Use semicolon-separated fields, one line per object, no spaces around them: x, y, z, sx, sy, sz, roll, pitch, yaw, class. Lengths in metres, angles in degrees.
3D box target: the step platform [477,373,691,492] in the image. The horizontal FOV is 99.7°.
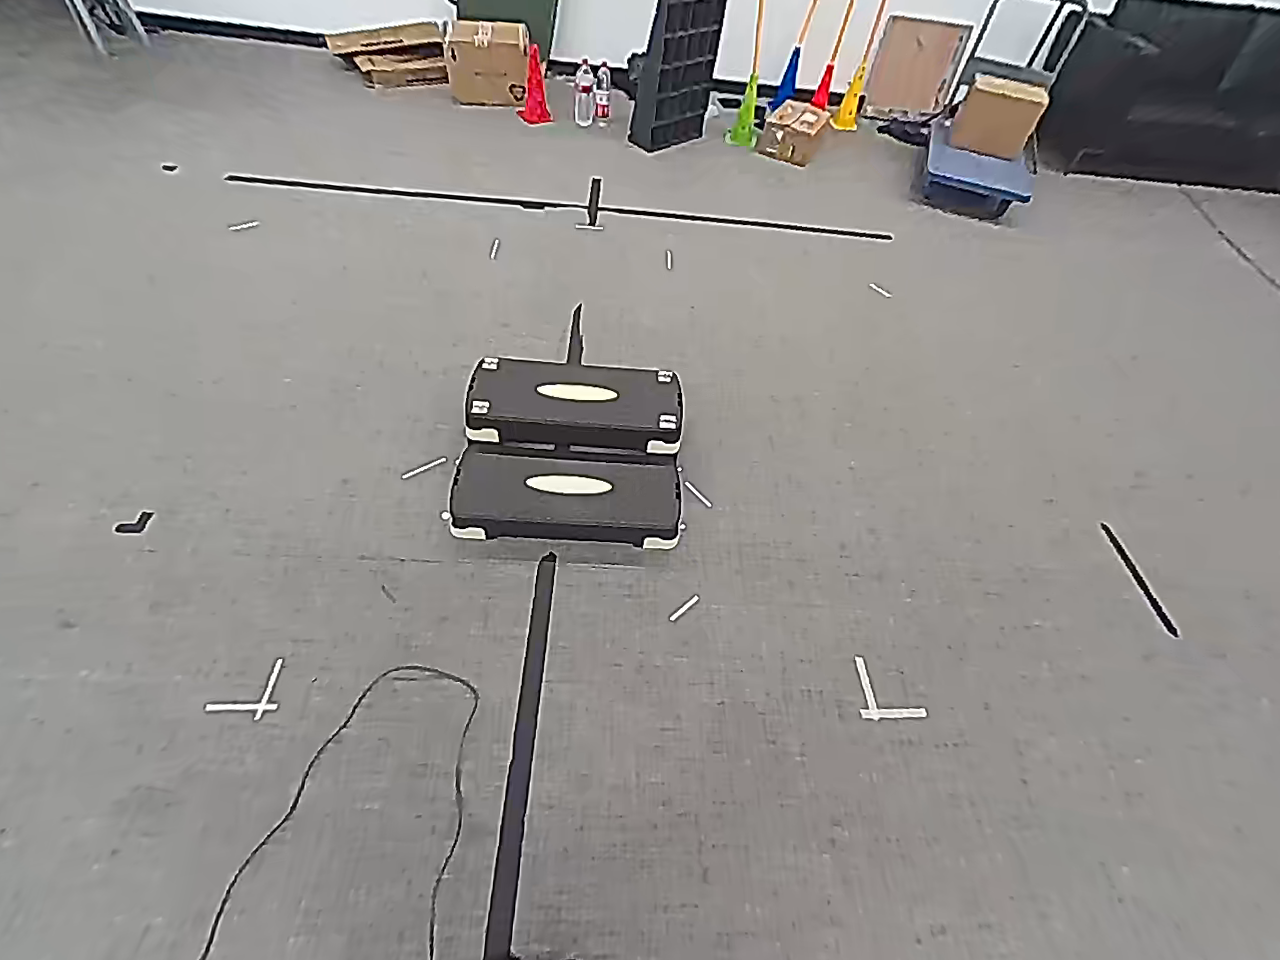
-0.174;-0.158;1.768;0.684;0.204;0.286;7;51;-2;step platform
